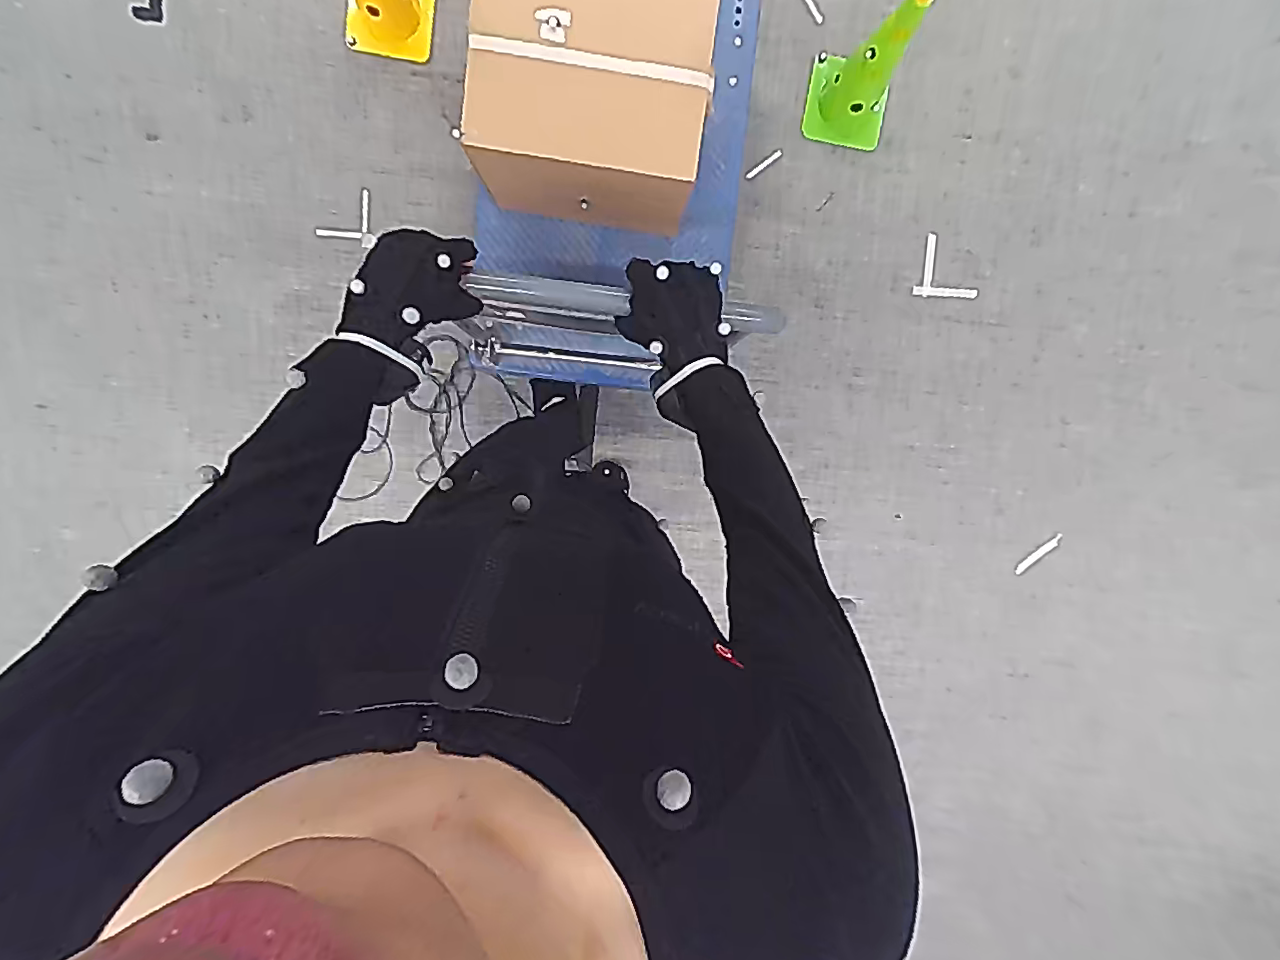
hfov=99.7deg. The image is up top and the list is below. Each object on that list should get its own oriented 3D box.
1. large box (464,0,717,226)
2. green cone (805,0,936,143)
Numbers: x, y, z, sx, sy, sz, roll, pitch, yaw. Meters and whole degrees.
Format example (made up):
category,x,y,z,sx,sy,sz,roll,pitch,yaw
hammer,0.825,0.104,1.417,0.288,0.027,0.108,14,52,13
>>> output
category,x,y,z,sx,sy,sz,roll,pitch,yaw
large box,-0.085,-0.718,1.047,0.408,0.320,0.320,8,97,-3
green cone,0.532,-0.944,1.186,0.202,0.368,0.200,9,97,-5
